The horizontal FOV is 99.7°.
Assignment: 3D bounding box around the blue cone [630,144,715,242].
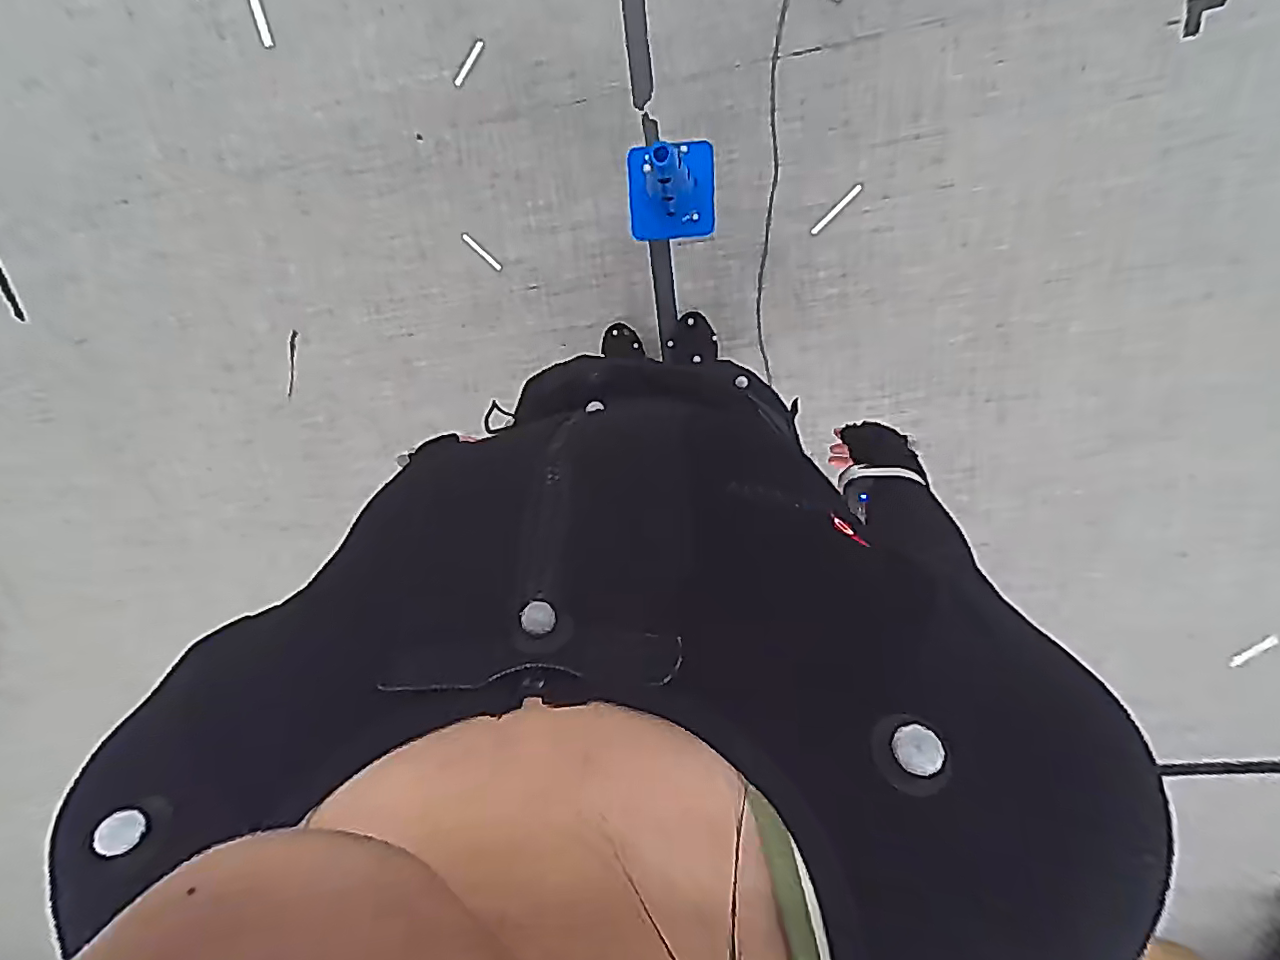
[{"bbox_3d":[0.059,-0.612,1.094,0.193,0.380,0.192,-3,108,6],"label":"blue cone"}]
